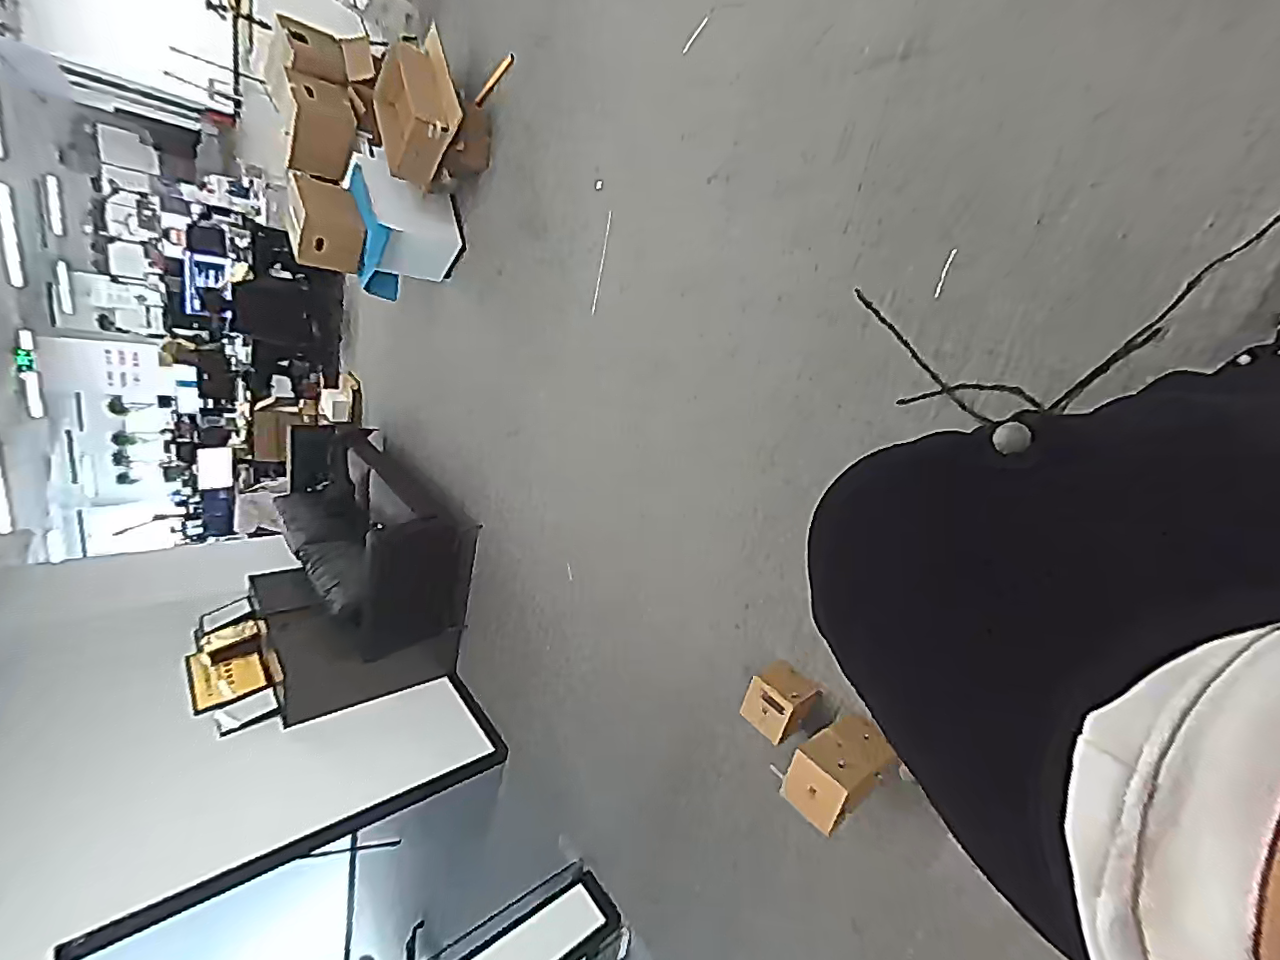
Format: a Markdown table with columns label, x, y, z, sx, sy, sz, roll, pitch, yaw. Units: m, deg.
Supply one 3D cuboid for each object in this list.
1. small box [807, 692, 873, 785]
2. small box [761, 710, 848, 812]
| label | x | y | z | sx | sy | sz | roll | pitch | yaw |
| --- | --- | --- | --- | --- | --- | --- | --- | --- | --- |
| small box | 0.612 | 0.812 | 1.718 | 0.168 | 0.176 | 0.179 | 34 | 119 | 39 |
| small box | 0.493 | 0.826 | 1.608 | 0.168 | 0.176 | 0.179 | 31 | 117 | 39 |
